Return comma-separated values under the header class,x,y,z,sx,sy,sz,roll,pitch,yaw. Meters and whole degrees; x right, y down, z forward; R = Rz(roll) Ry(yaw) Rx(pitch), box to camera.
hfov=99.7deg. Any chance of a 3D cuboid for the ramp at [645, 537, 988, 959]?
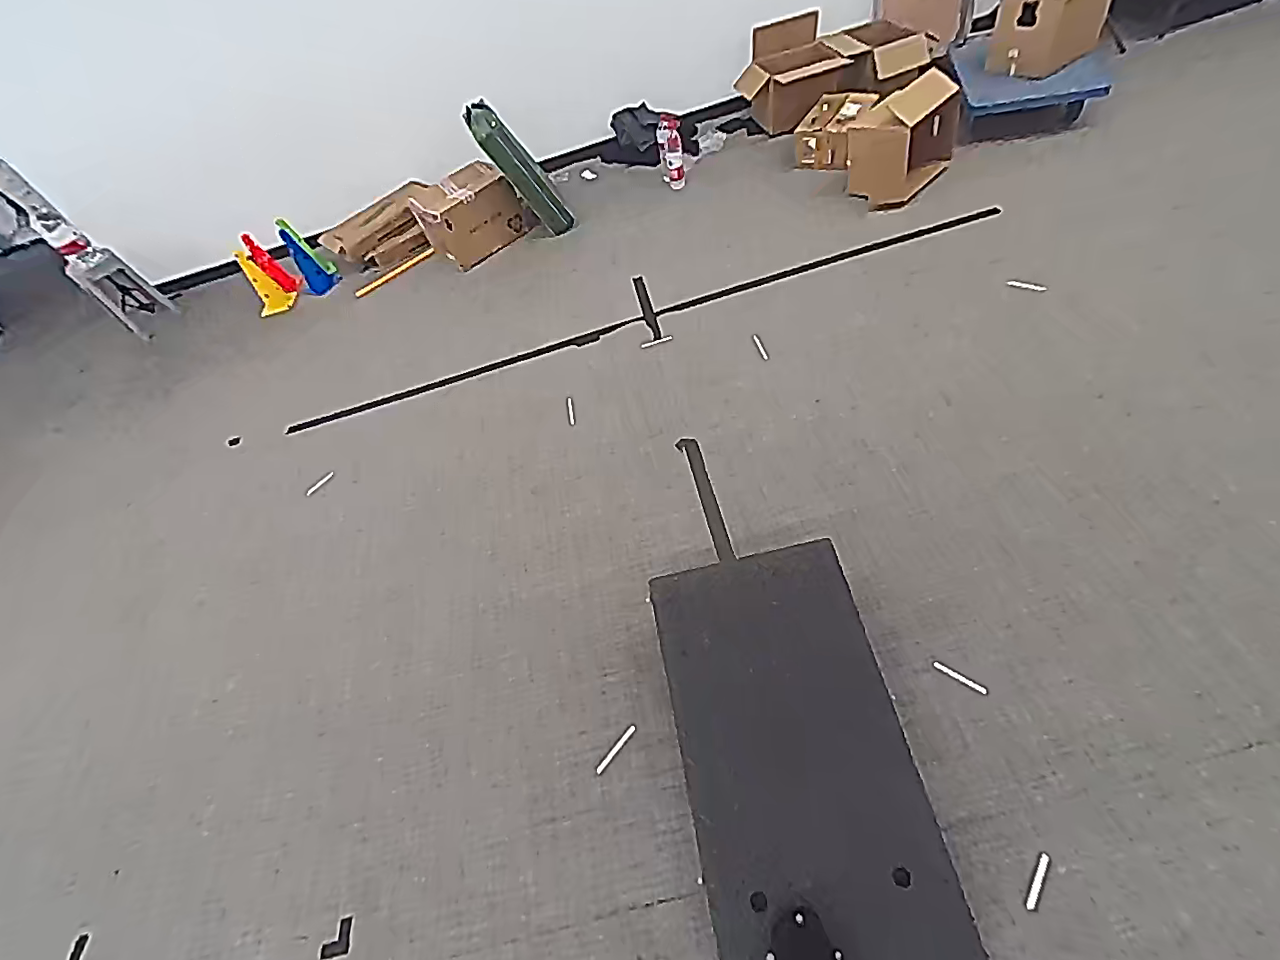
class,x,y,z,sx,sy,sz,roll,pitch,yaw
ramp,0.340,0.634,1.185,0.509,0.206,0.991,-15,51,3
